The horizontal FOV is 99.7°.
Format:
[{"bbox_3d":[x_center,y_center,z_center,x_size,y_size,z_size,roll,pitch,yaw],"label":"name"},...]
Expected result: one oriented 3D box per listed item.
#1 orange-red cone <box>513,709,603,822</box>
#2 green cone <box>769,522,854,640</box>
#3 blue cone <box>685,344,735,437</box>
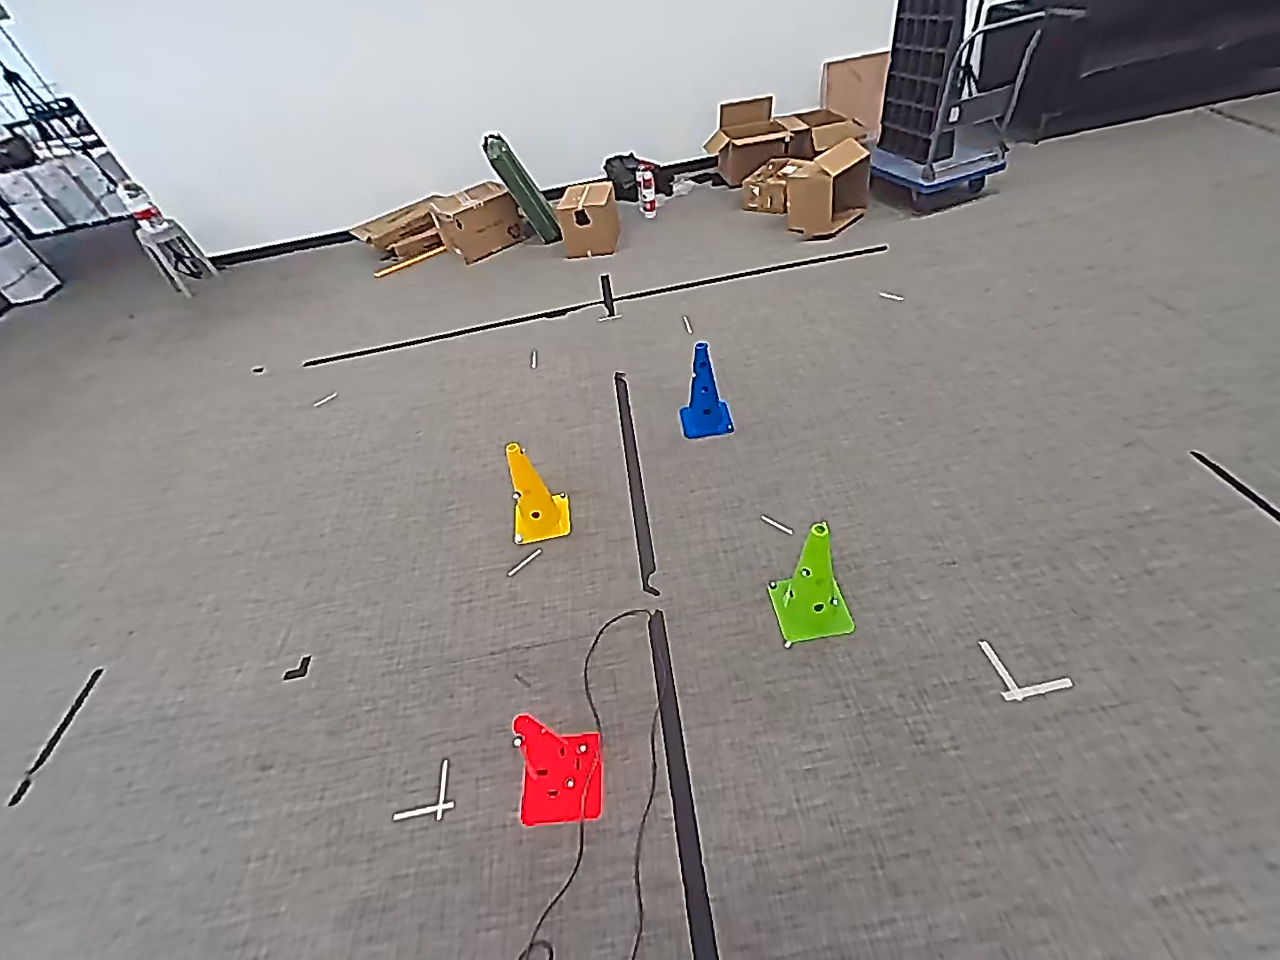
[{"bbox_3d":[-0.220,0.614,1.229,0.199,0.360,0.198,-8,43,5],"label":"orange-red cone"},{"bbox_3d":[0.472,0.246,1.449,0.202,0.368,0.200,-9,45,1],"label":"green cone"},{"bbox_3d":[0.264,-0.359,2.110,0.192,0.380,0.193,-7,45,3],"label":"blue cone"}]
